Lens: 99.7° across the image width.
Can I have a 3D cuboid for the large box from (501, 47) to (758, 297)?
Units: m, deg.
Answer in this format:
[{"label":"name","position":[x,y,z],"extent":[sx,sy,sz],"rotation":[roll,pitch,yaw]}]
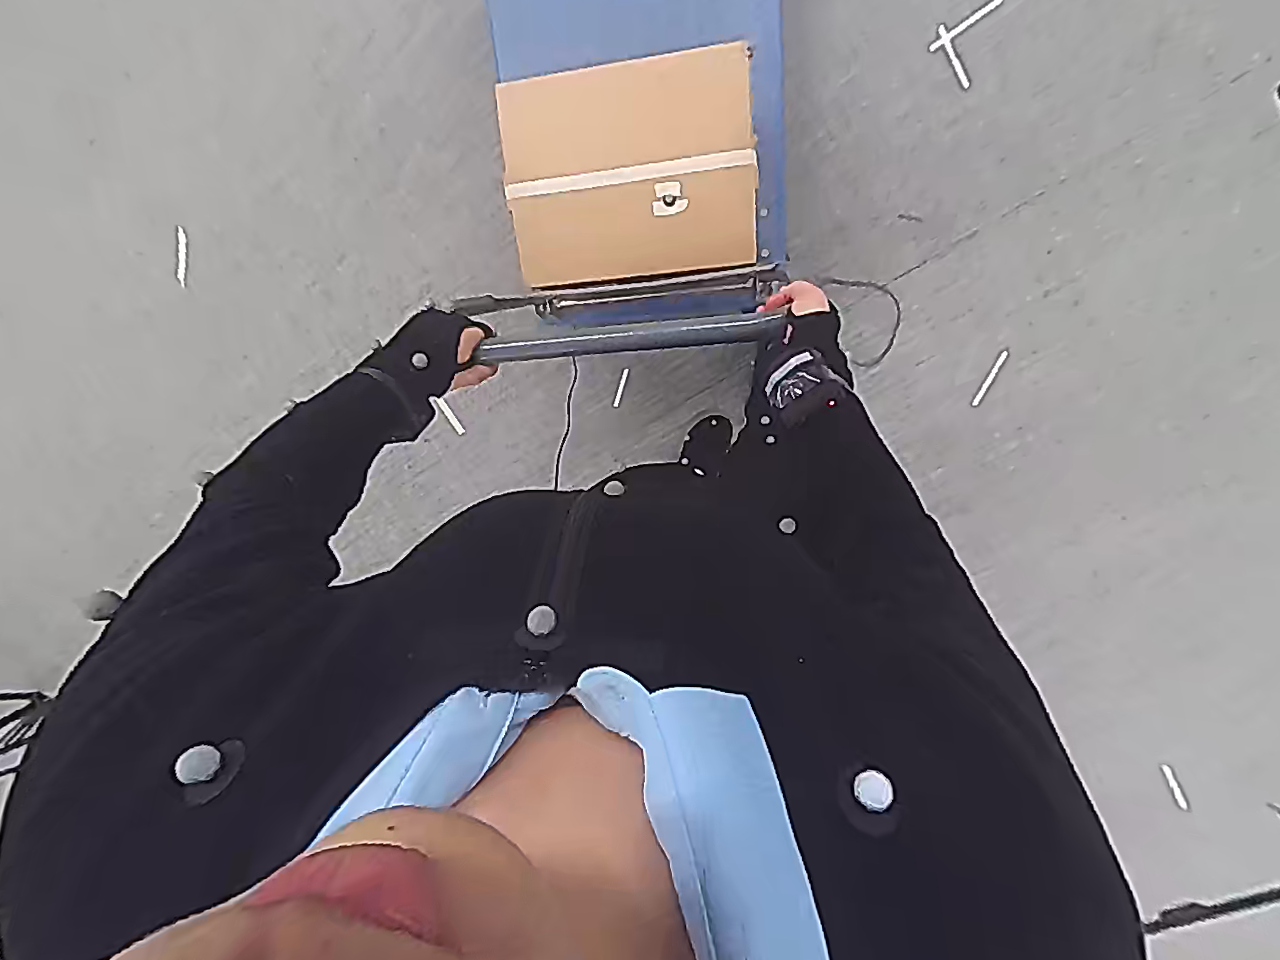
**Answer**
[{"label":"large box","position":[0.001,-0.538,1.030],"extent":[0.408,0.320,0.320],"rotation":[-3,107,8]}]
